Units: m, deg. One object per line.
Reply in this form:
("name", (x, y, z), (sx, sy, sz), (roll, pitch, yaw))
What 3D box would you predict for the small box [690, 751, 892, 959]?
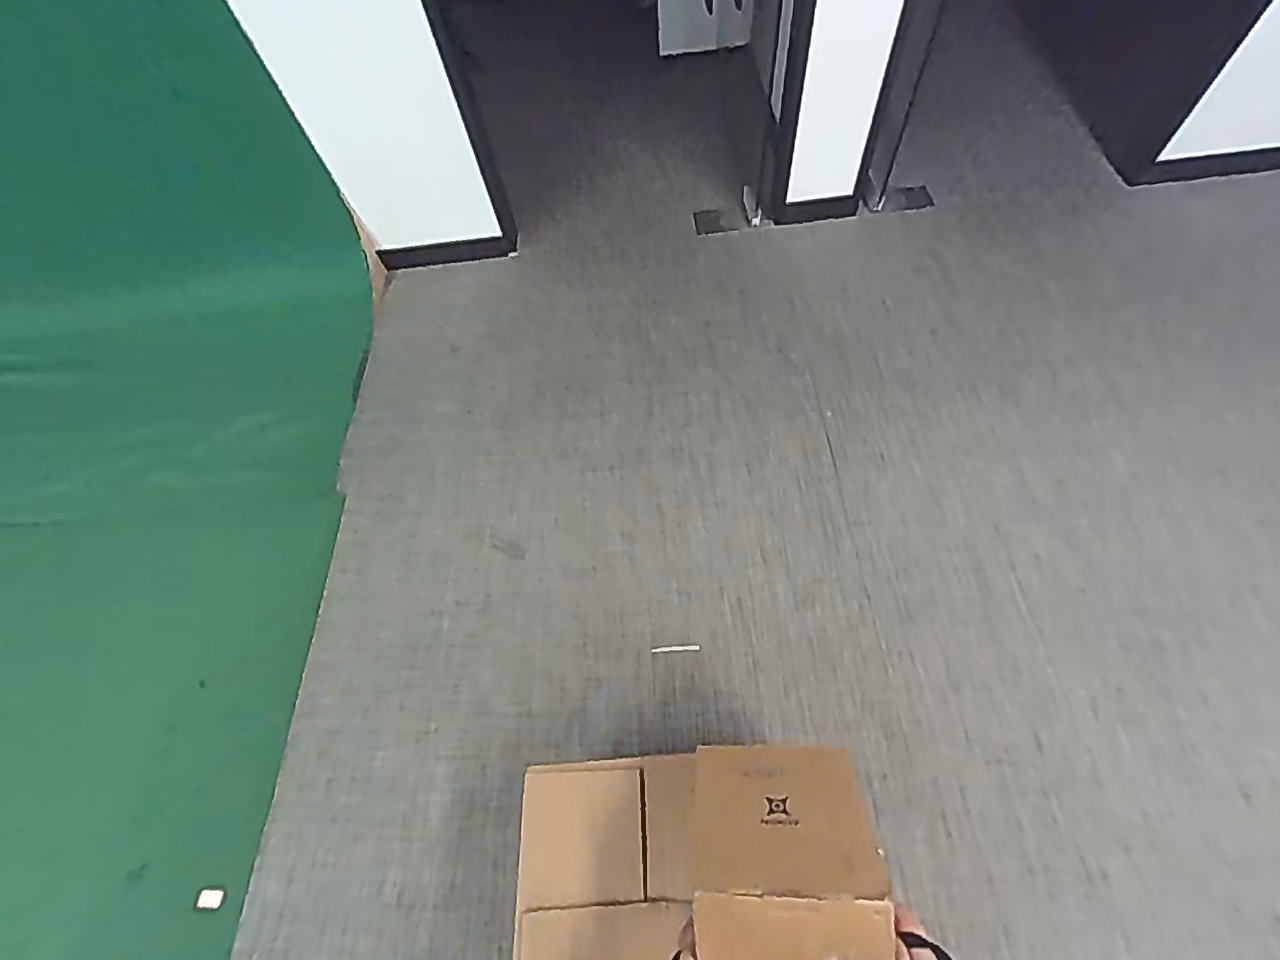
("small box", (0.143, 0.402, 0.536), (0.168, 0.179, 0.176), (-4, 103, 9))
